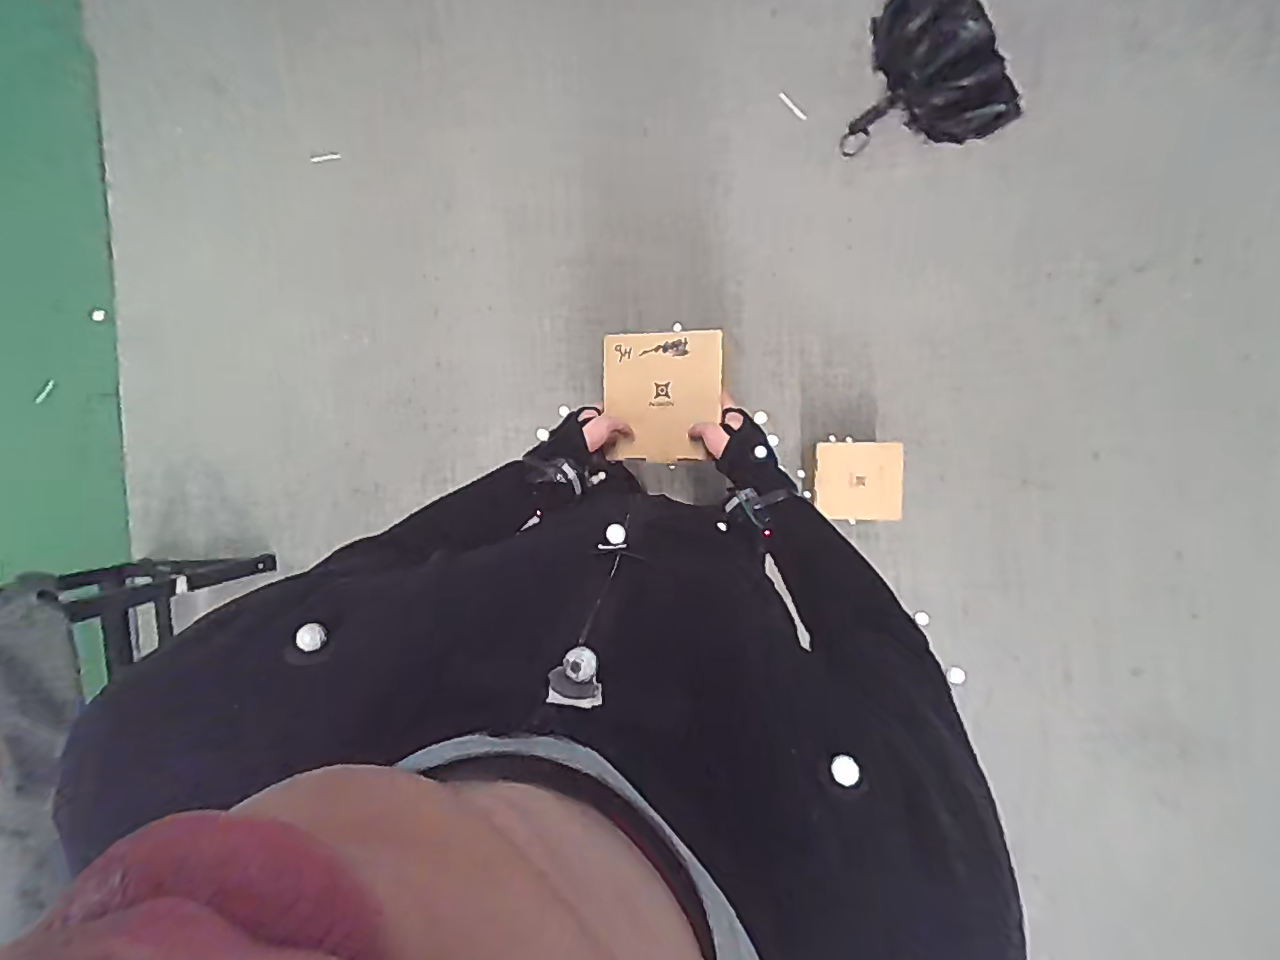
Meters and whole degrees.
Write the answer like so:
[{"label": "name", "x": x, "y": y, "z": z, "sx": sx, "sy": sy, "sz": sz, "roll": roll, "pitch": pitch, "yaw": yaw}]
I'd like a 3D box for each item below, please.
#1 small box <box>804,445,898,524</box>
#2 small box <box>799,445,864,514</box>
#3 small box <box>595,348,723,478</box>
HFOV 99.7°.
[{"label": "small box", "x": 0.472, "y": 0.006, "z": 1.233, "sx": 0.179, "sy": 0.176, "sz": 0.168, "roll": 0, "pitch": 95, "yaw": 10}, {"label": "small box", "x": 0.507, "y": -0.005, "z": 1.391, "sx": 0.179, "sy": 0.176, "sz": 0.168, "roll": -1, "pitch": 94, "yaw": 12}, {"label": "small box", "x": 0.037, "y": -0.100, "z": 0.818, "sx": 0.168, "sy": 0.176, "sz": 0.179, "roll": 0, "pitch": 97, "yaw": 13}]
